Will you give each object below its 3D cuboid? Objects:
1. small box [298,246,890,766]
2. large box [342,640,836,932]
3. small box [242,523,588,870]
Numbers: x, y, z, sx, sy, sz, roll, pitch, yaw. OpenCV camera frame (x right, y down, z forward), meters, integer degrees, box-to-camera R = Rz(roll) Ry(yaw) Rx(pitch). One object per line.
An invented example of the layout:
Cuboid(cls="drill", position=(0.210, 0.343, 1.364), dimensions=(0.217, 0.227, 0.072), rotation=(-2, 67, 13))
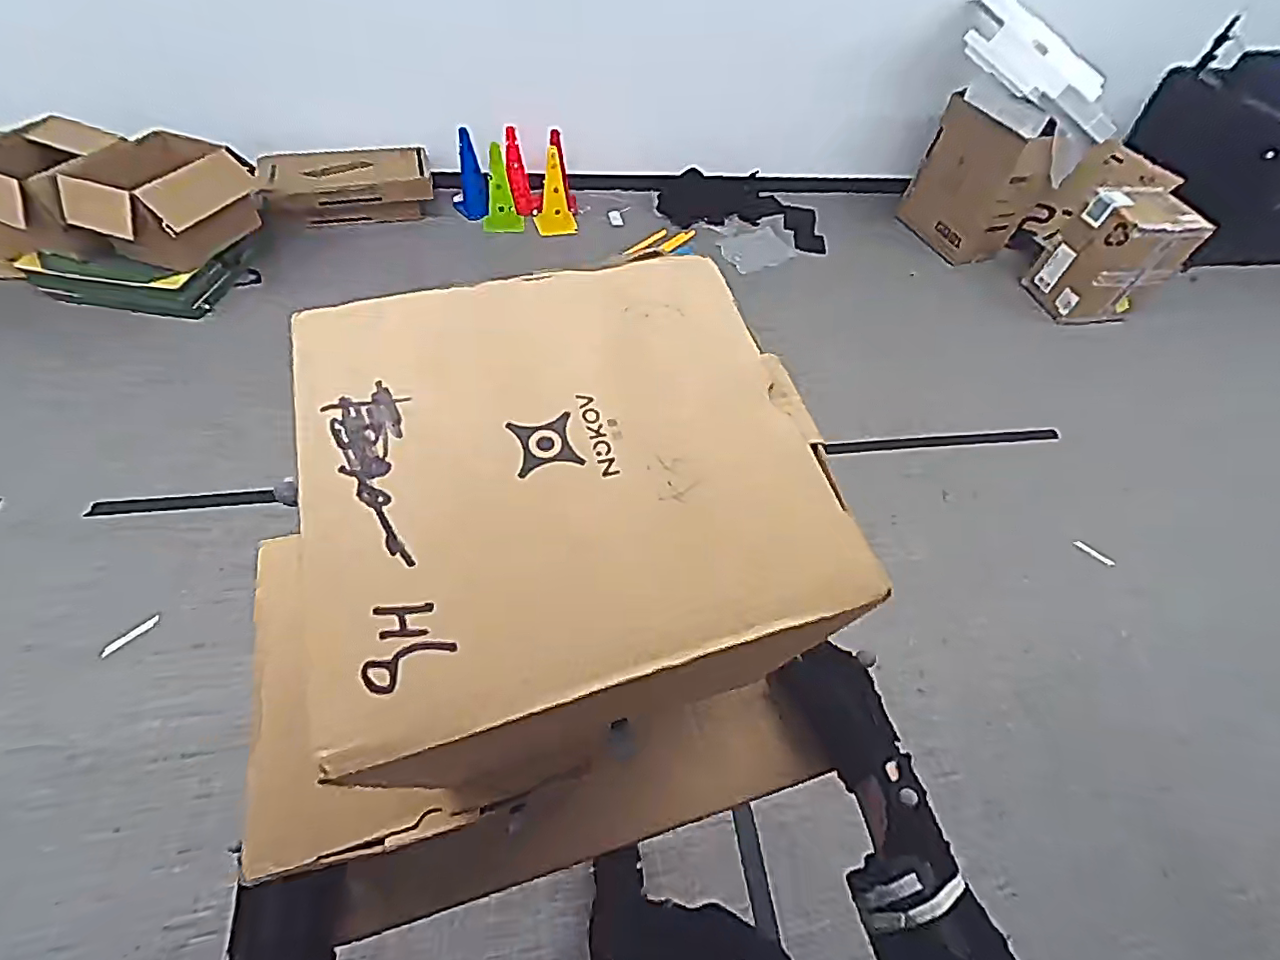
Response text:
Cuboid(cls="small box", position=(-0.032, 0.020, 0.257), dimensions=(0.179, 0.176, 0.168), rotation=(-13, 63, -14))
Cuboid(cls="large box", position=(-0.079, 0.218, 0.611), dimensions=(0.408, 0.320, 0.320), rotation=(-11, 63, -15))
Cuboid(cls="small box", position=(-0.137, 0.130, 0.370), dimensions=(0.168, 0.176, 0.179), rotation=(-10, 60, -16))
